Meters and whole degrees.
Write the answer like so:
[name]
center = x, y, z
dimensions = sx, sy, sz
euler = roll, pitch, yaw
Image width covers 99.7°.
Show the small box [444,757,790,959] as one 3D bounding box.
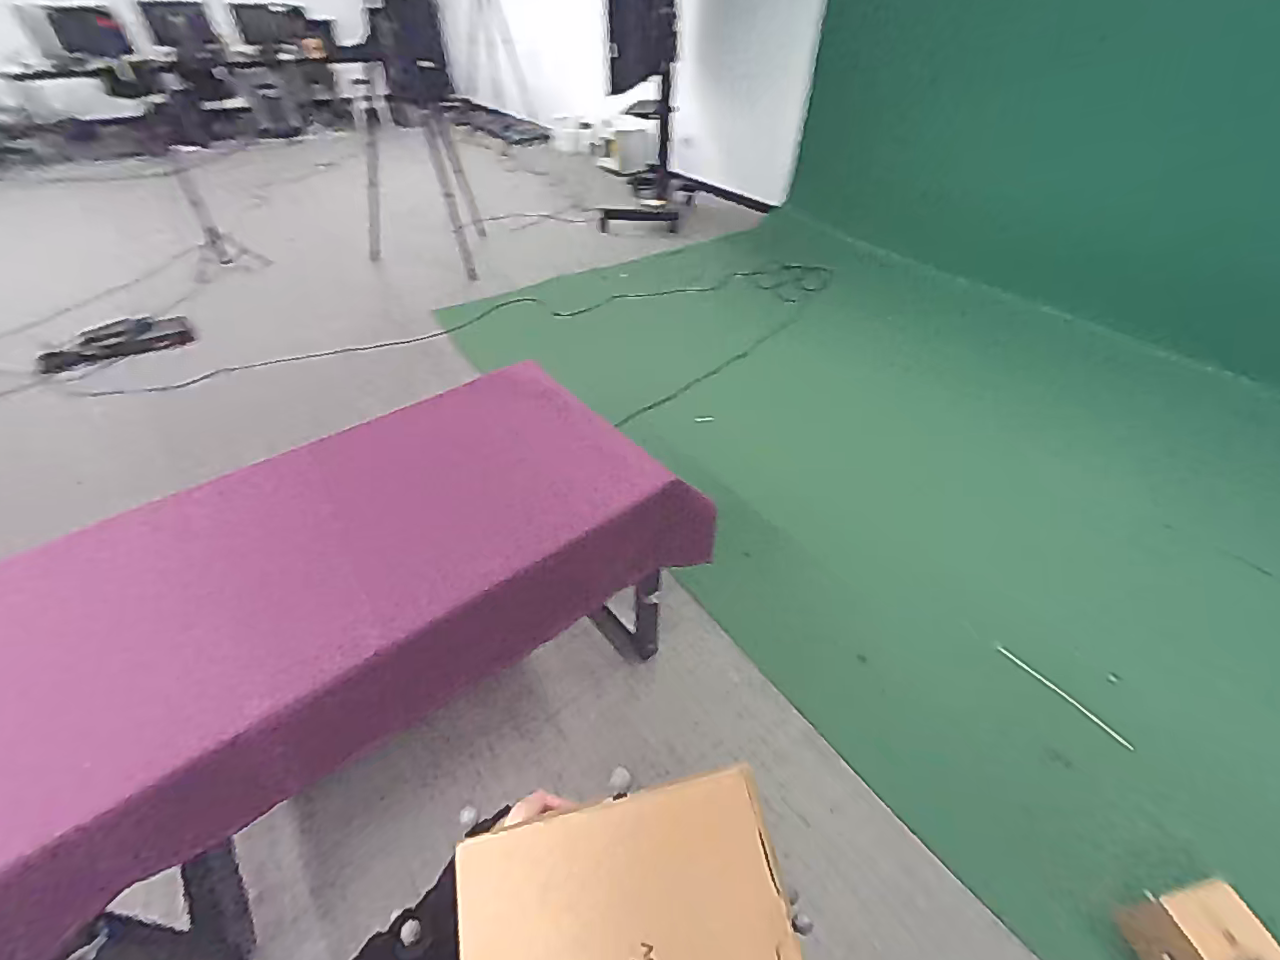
[small box]
center = -0.002, 0.290, 0.346
dimensions = 0.179, 0.176, 0.168
euler = -16, 61, 1
